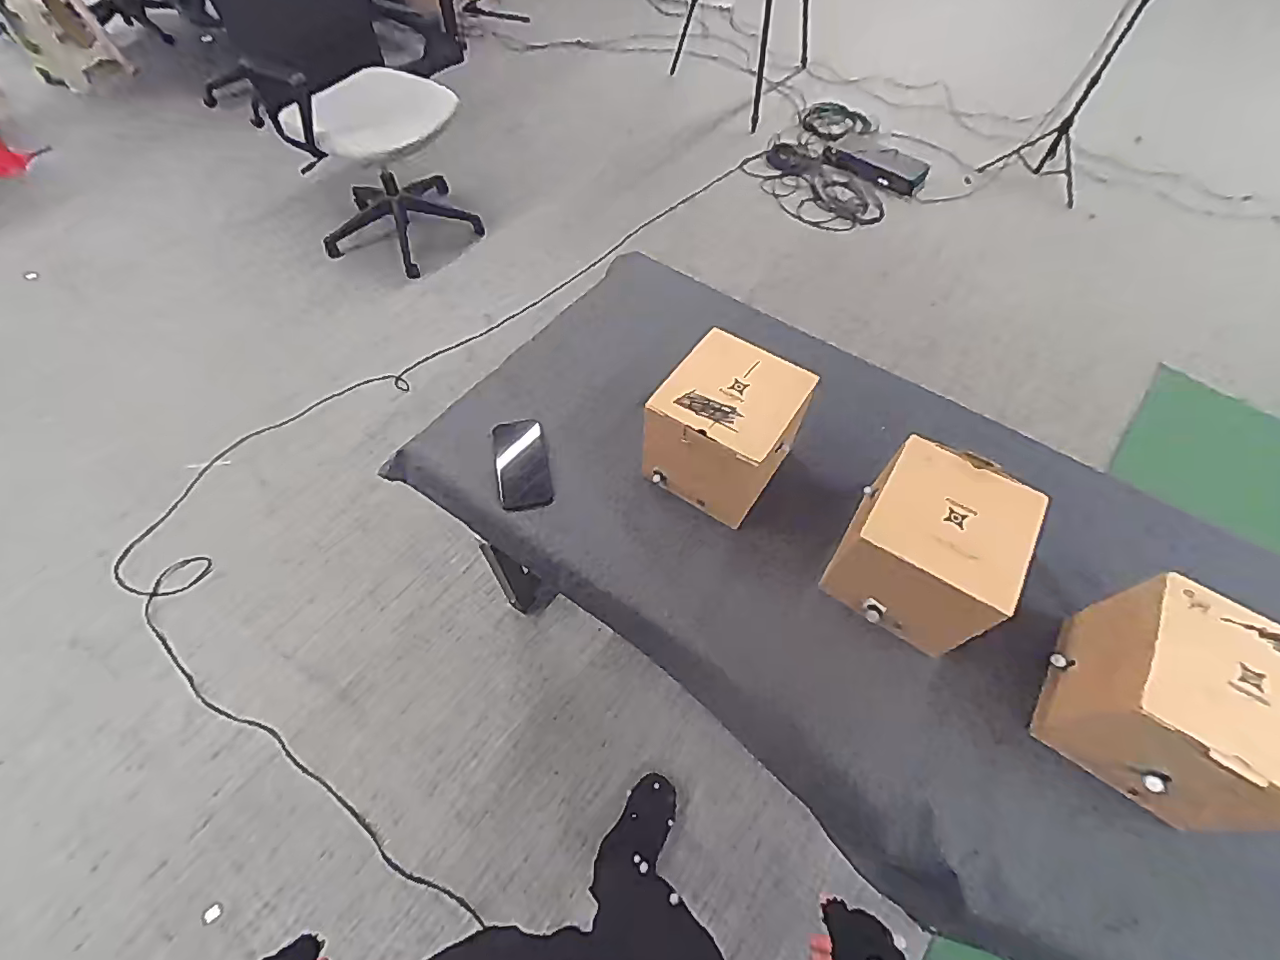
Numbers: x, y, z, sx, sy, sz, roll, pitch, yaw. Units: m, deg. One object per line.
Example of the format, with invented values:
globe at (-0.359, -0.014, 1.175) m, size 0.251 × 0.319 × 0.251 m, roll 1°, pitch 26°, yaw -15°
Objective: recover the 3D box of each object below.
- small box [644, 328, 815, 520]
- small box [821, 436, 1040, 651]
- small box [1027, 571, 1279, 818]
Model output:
small box at (0.119, -0.074, 0.770) m, size 0.168 × 0.176 × 0.179 m, roll 31°, pitch 61°, yaw 16°
small box at (0.352, 0.084, 0.683) m, size 0.168 × 0.176 × 0.179 m, roll 30°, pitch 62°, yaw 17°
small box at (0.571, 0.239, 0.591) m, size 0.168 × 0.176 × 0.179 m, roll 33°, pitch 63°, yaw 18°
